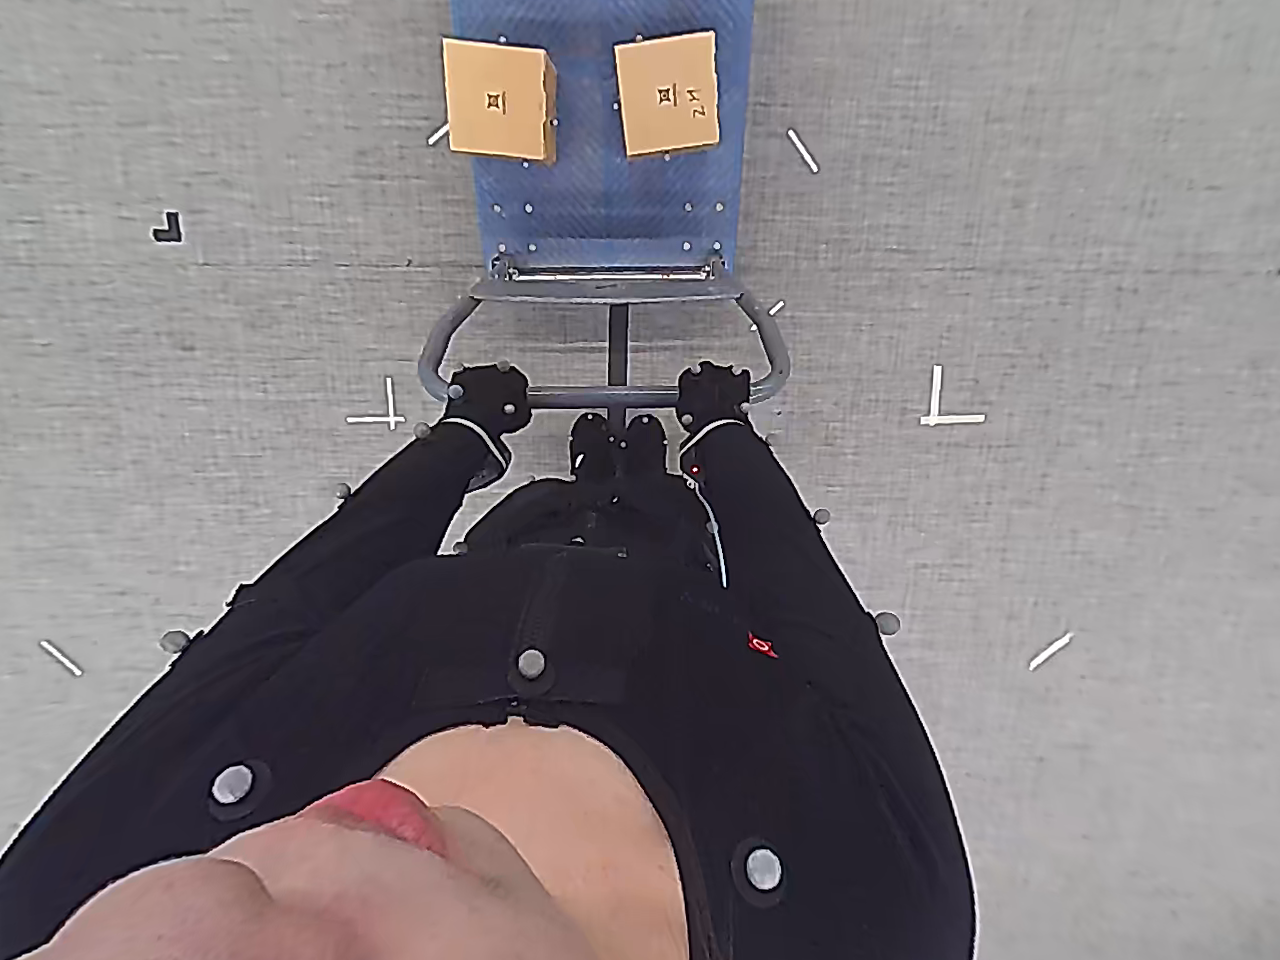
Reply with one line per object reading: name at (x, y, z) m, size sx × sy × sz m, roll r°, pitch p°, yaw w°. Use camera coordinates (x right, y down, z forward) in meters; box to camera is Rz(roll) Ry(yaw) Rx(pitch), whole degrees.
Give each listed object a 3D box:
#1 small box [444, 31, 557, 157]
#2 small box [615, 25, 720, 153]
small box at (-0.256, -0.719, 1.026) m, size 0.179 × 0.176 × 0.168 m, roll 3°, pitch 118°, yaw -4°
small box at (0.052, -0.729, 1.026) m, size 0.179 × 0.176 × 0.168 m, roll -6°, pitch 119°, yaw 3°
